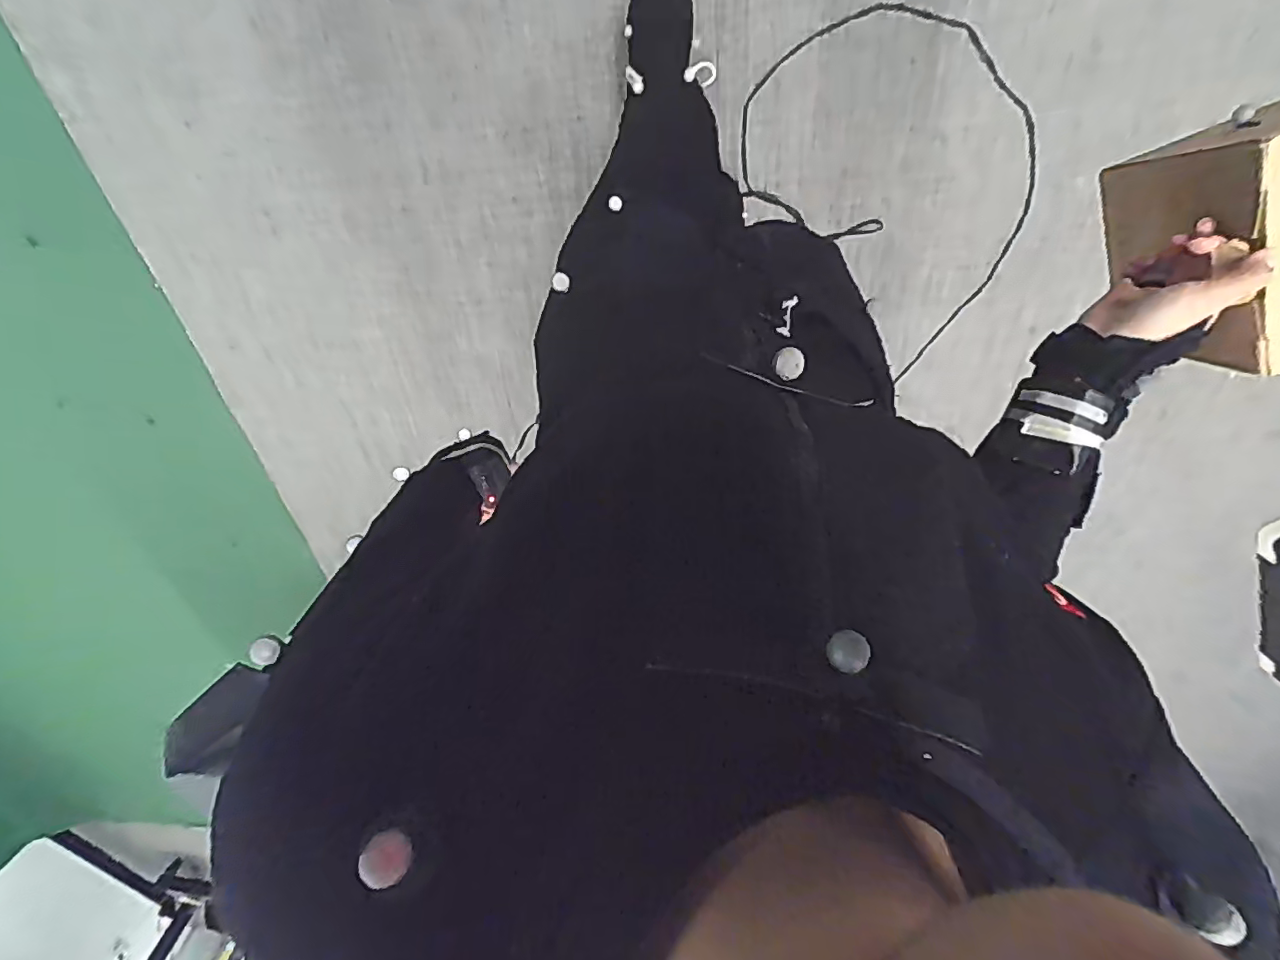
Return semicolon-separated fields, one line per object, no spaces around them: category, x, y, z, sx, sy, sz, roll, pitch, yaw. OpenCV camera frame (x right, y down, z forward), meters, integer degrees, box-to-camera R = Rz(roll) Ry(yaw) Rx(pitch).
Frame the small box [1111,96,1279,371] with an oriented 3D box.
small box;0.508;-0.203;0.415;0.179;0.176;0.168;-19;110;15
